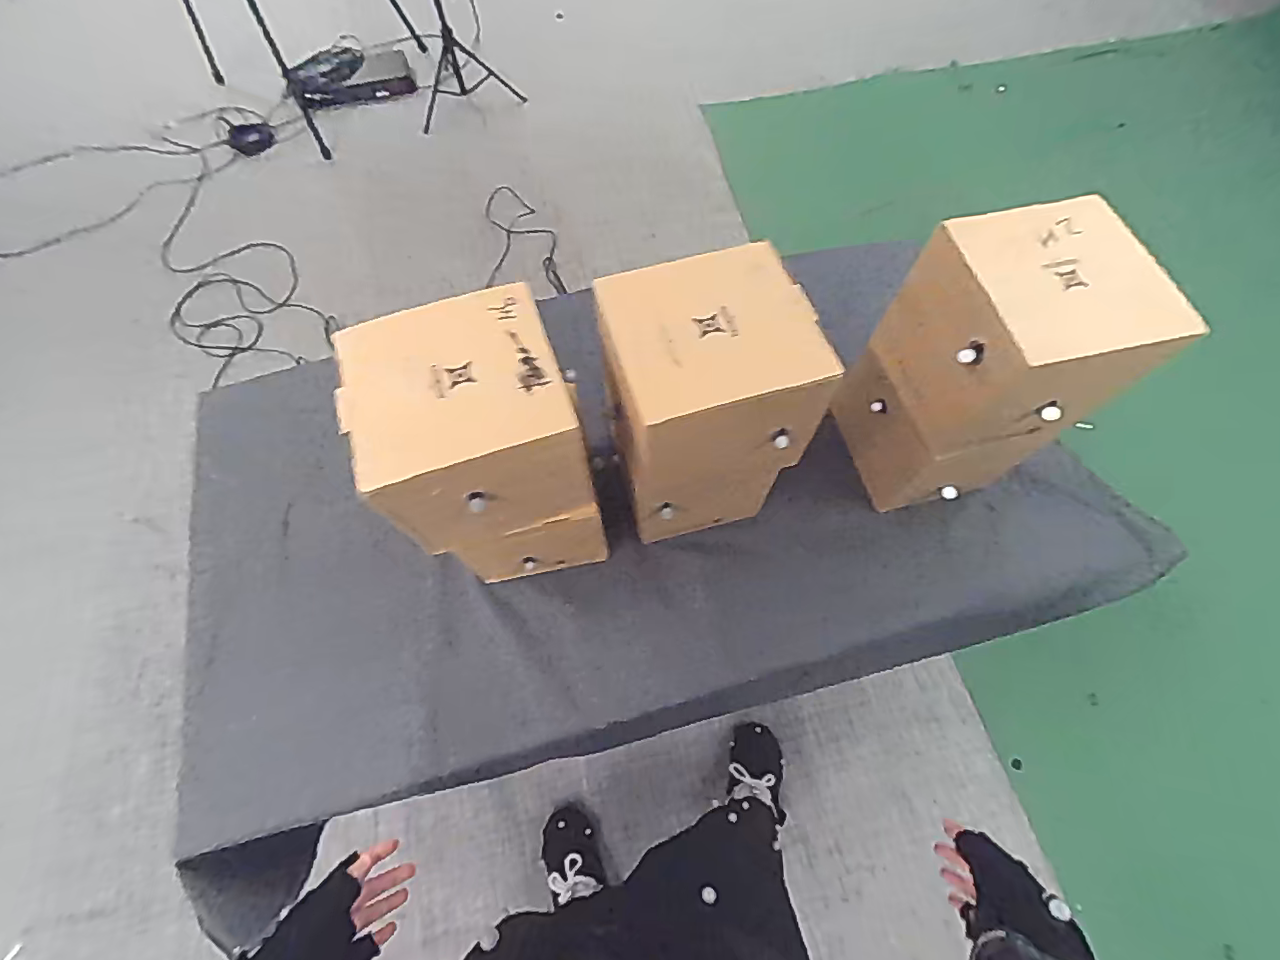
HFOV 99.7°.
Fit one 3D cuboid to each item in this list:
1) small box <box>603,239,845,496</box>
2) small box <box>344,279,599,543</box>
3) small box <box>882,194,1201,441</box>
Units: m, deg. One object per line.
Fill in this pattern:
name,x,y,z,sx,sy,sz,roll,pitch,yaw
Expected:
small box,0.070,-0.104,0.547,0.179,0.176,0.168,-16,65,-5
small box,-0.151,-0.056,0.528,0.179,0.176,0.168,-19,68,-7
small box,0.386,-0.155,0.563,0.168,0.176,0.179,-11,66,-4
